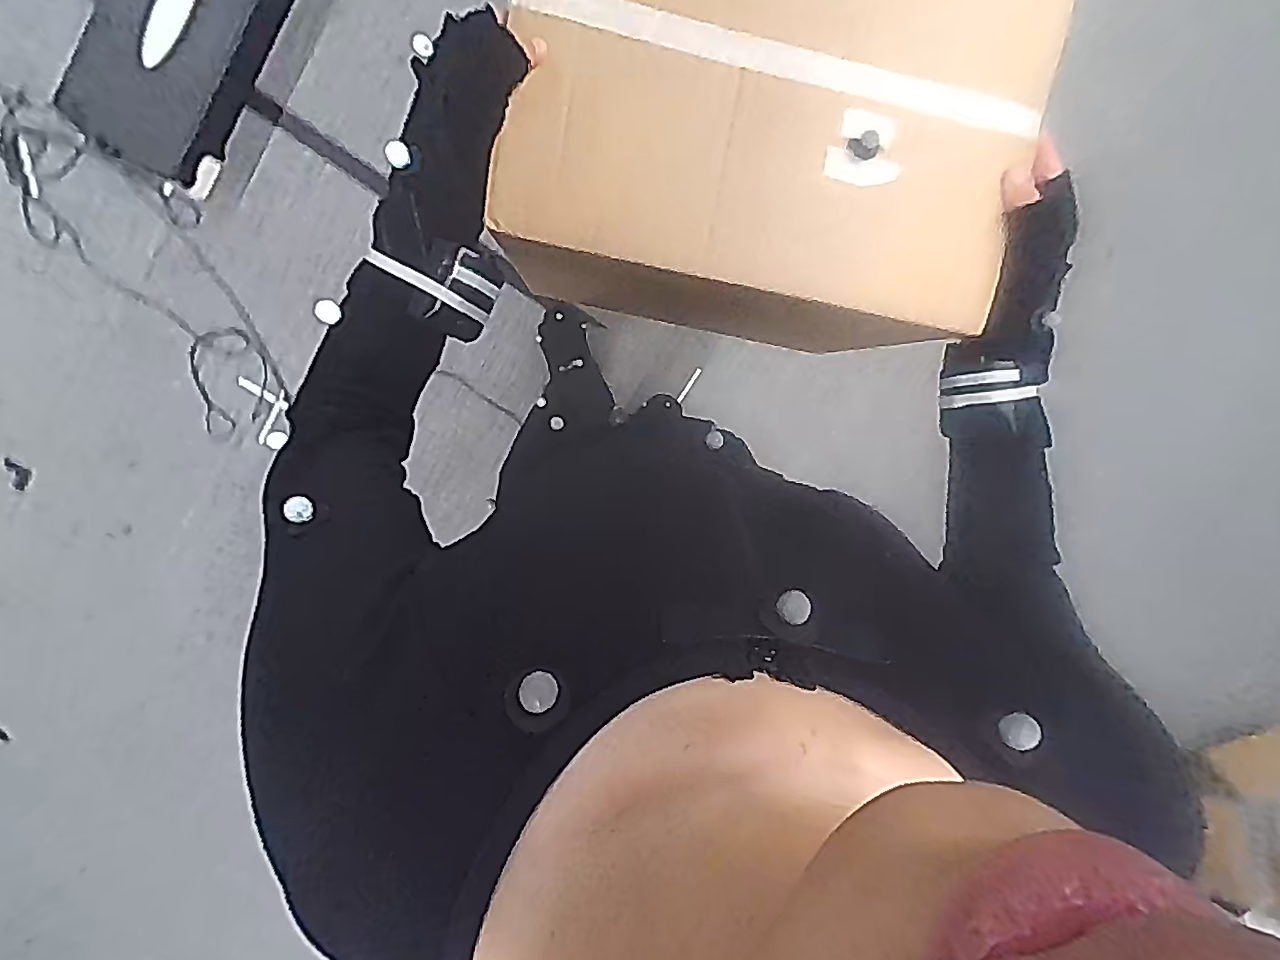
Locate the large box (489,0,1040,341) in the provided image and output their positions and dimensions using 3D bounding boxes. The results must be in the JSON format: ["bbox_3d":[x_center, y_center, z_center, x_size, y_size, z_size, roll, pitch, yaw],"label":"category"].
[{"bbox_3d":[0.085,-0.340,0.554,0.408,0.320,0.320,8,100,-7],"label":"large box"}]
